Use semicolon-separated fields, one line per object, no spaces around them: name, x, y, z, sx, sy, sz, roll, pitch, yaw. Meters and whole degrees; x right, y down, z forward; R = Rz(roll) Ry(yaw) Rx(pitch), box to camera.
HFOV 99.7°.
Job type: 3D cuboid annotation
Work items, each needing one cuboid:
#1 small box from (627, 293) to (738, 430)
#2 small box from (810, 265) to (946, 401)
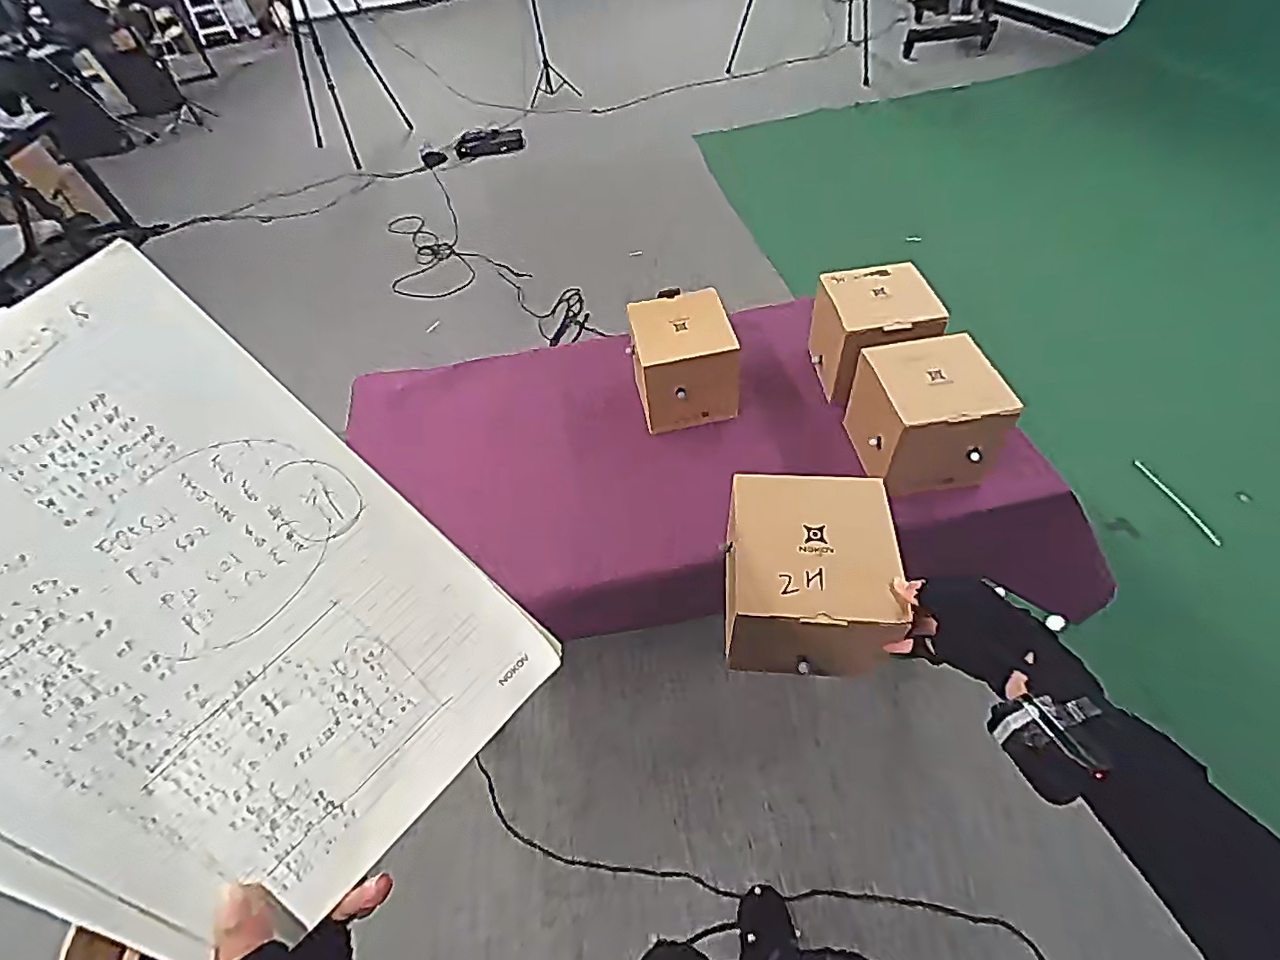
small box;0.079;-0.209;0.993;0.168;0.176;0.179;-12;50;-1
small box;0.416;-0.258;0.979;0.168;0.176;0.179;-6;51;3
